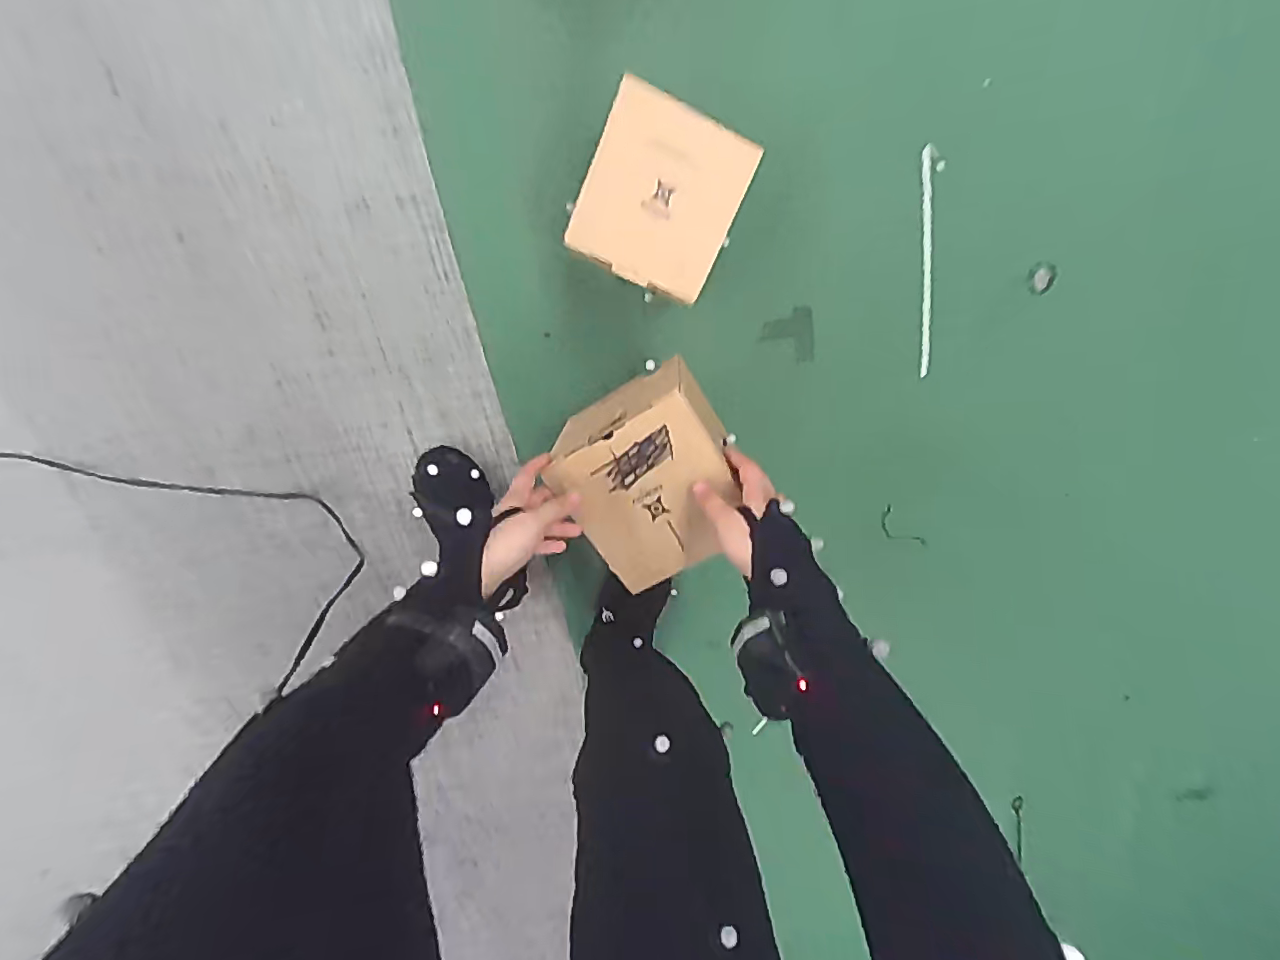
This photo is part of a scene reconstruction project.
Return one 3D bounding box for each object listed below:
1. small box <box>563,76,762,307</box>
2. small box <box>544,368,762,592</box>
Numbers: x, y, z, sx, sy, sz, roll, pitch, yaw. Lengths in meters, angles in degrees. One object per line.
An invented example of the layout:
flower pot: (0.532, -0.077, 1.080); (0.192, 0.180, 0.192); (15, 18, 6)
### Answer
small box: (0.018, -0.328, 0.656); (0.168, 0.176, 0.179); (22, 106, -12)
small box: (0.018, -0.012, 0.624); (0.168, 0.176, 0.179); (-29, 111, 16)
